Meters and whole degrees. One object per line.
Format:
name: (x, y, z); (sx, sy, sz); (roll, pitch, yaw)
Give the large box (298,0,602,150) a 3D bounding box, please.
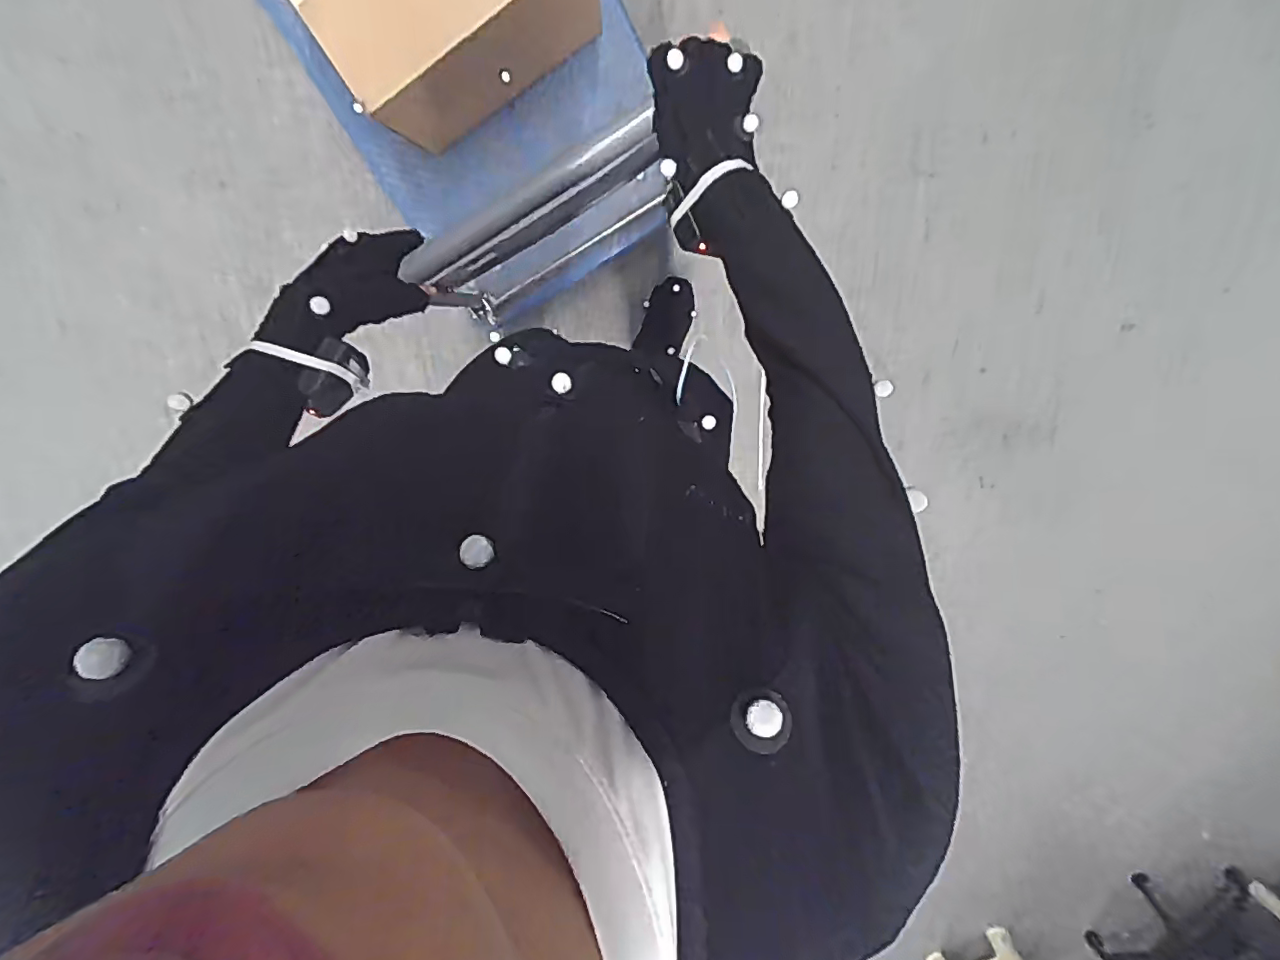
large box: (-0.309, -0.818, 0.861); (0.408, 0.320, 0.320); (-31, 108, 10)
